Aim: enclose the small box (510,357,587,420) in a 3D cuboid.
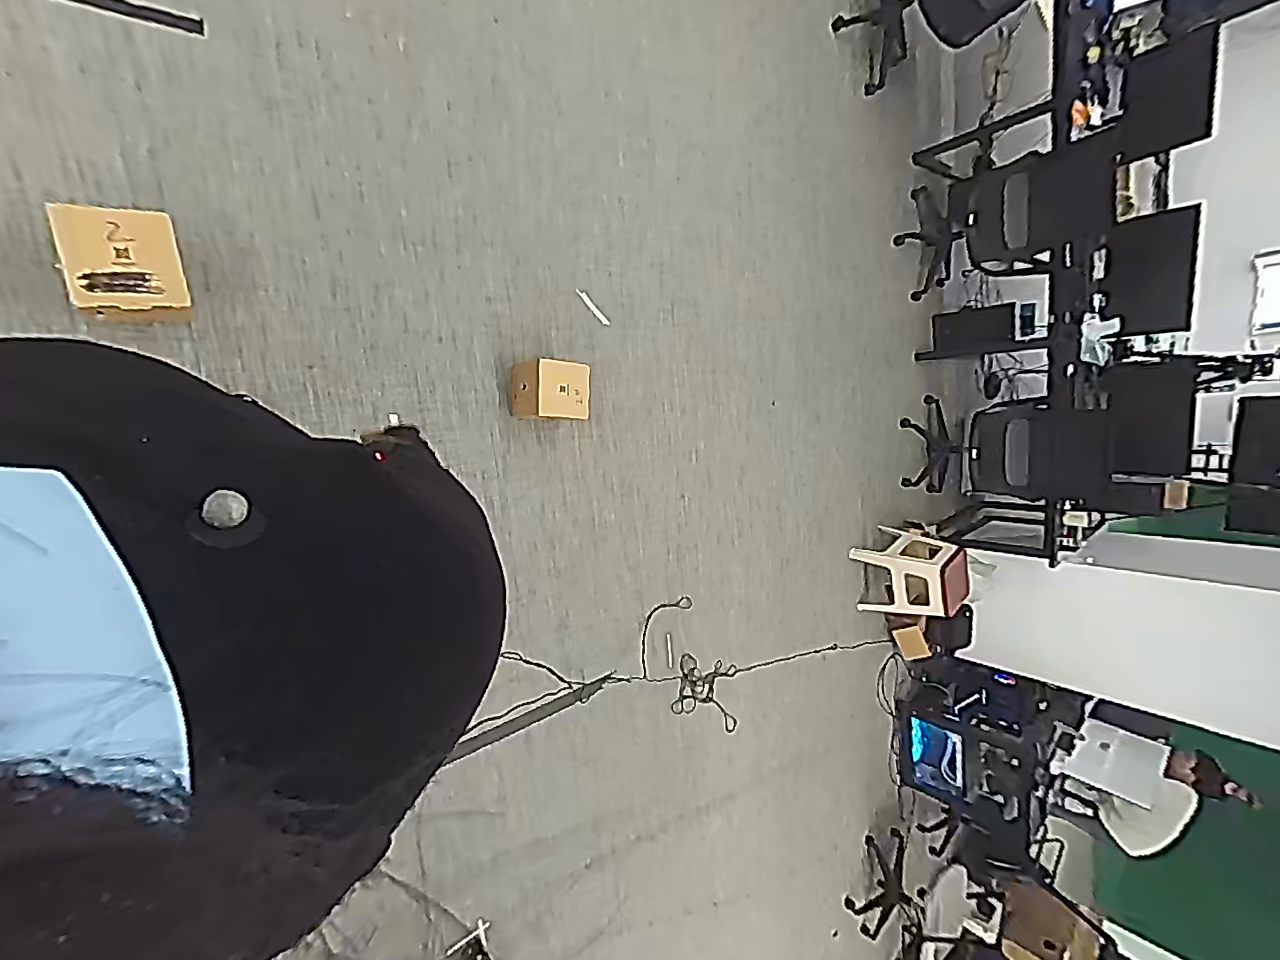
[{"bbox_3d":[-0.281,-0.270,1.643,0.179,0.176,0.168,0,94,-40],"label":"small box"}]
